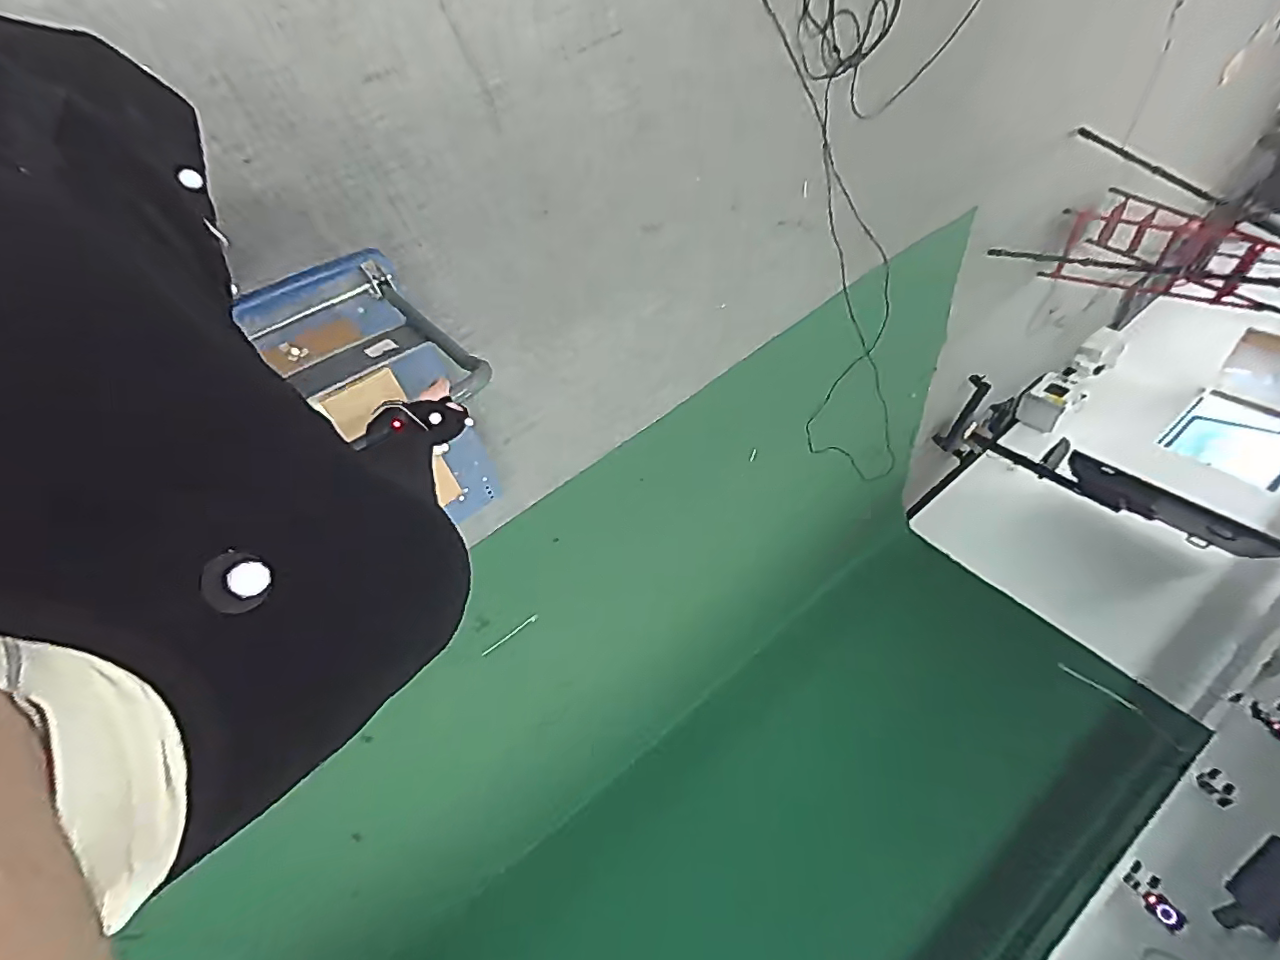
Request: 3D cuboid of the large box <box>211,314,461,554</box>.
[{"bbox_3d":[-0.701,-0.110,1.286,0.320,0.320,0.408,-35,141,-19],"label":"large box"}]
